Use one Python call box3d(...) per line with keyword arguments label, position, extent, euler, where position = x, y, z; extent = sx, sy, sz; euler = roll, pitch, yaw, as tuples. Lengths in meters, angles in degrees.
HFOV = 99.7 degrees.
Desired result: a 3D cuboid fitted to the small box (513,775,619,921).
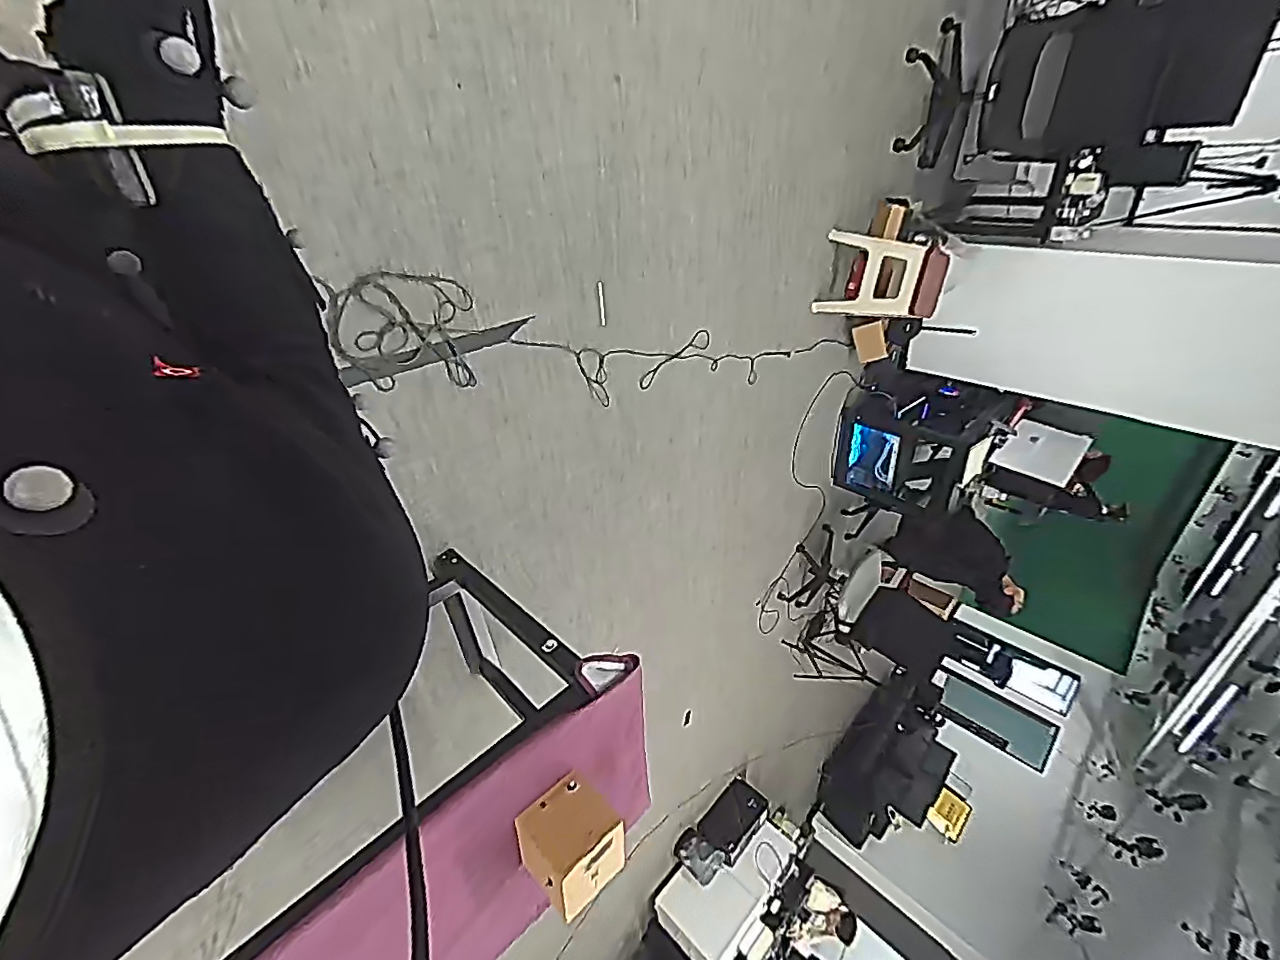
box3d(label="small box", position=(-0.163, 0.788, 1.182), extent=(0.168, 0.176, 0.179), euler=(-24, 127, -38))
